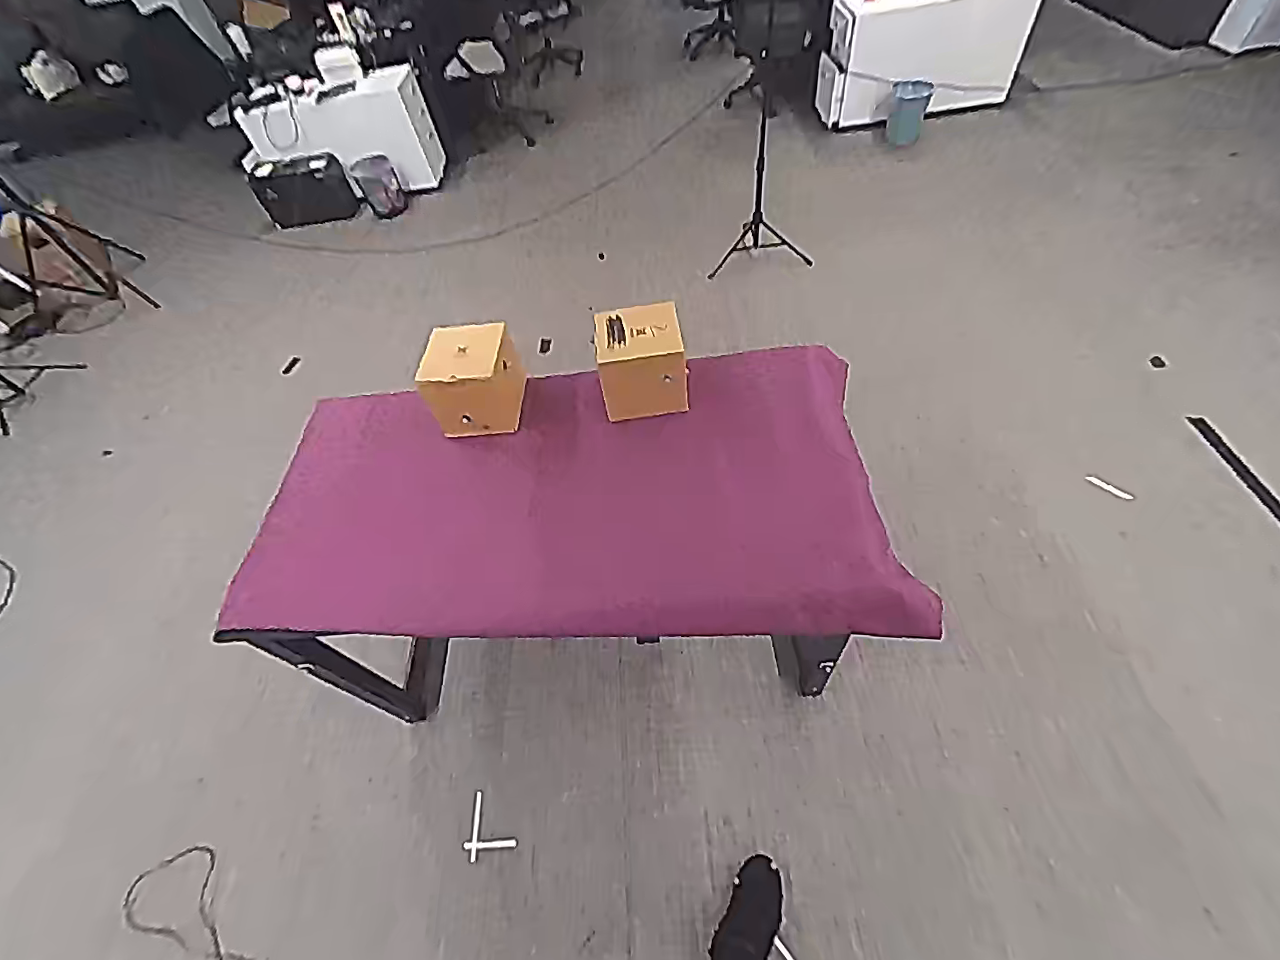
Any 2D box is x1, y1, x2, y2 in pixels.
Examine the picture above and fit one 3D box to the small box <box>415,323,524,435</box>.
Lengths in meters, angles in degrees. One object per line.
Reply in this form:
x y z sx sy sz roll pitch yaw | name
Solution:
-0.364 -0.220 1.194 0.168 0.176 0.179 -4 54 5 | small box
